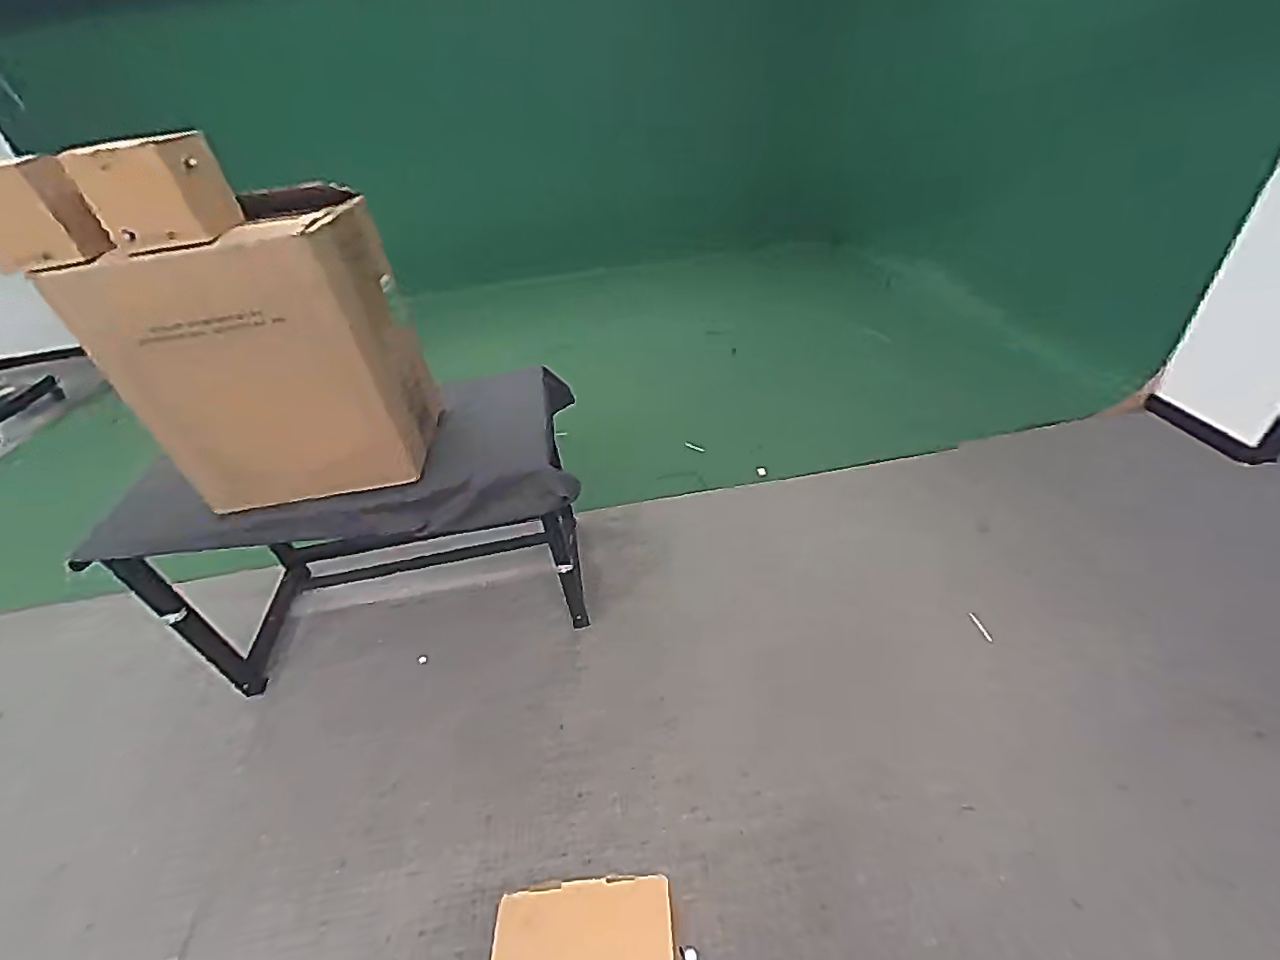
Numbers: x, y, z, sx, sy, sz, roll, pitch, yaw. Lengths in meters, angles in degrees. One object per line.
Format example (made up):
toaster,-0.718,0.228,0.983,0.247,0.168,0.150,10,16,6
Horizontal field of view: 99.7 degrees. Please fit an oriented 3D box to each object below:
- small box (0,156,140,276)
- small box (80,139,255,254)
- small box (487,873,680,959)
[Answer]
small box,-1.133,-0.517,1.061,0.168,0.176,0.179,-10,38,1
small box,-0.913,-0.558,1.071,0.168,0.176,0.179,-9,38,-2
small box,-0.045,0.502,0.496,0.168,0.176,0.179,-8,33,3
